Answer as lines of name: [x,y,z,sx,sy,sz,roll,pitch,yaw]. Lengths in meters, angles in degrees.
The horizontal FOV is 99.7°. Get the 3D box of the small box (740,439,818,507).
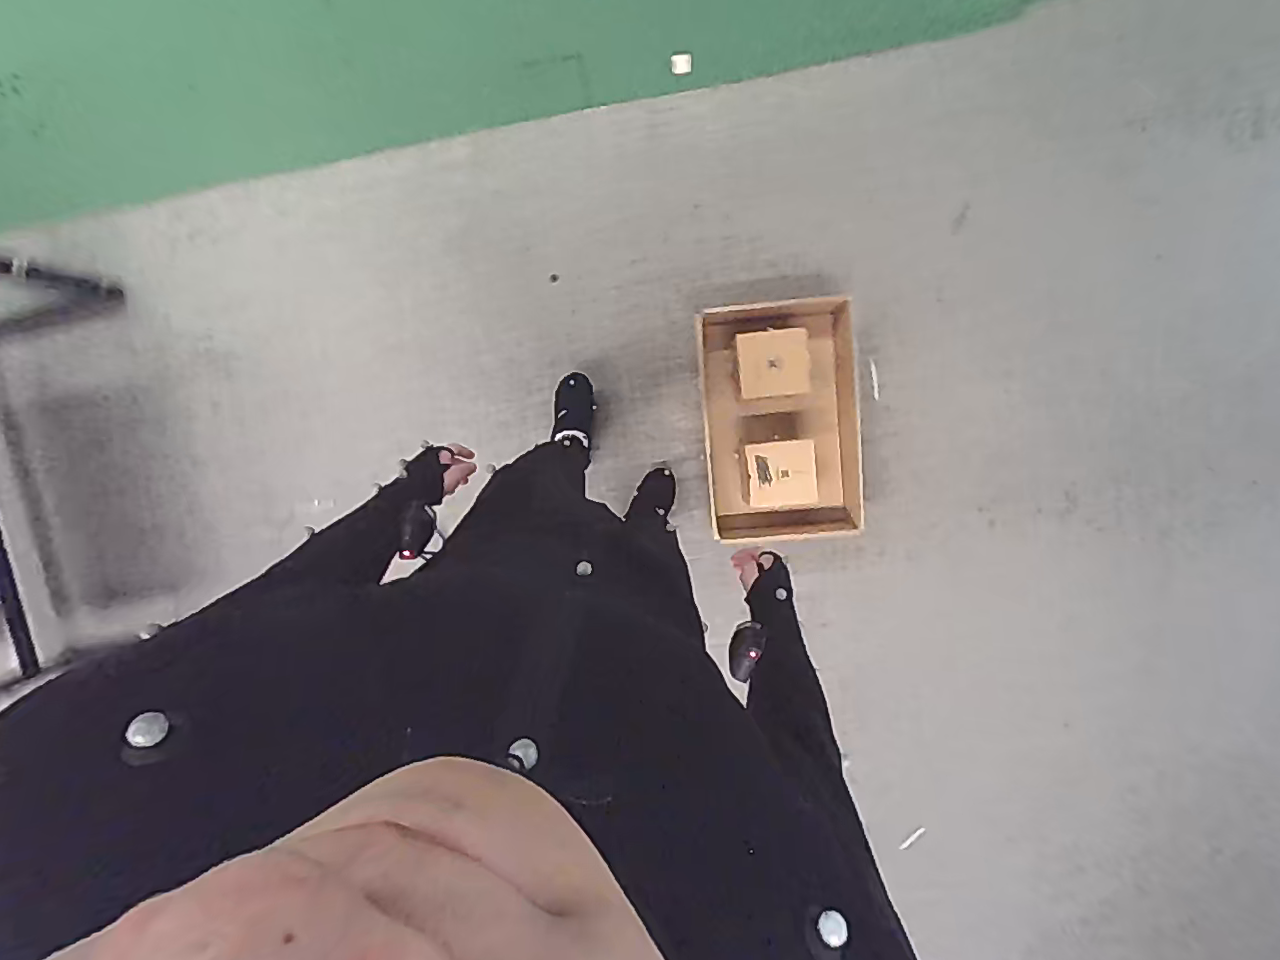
small box: [0.365,-0.021,1.452,0.179,0.176,0.168,-5,95,3]
